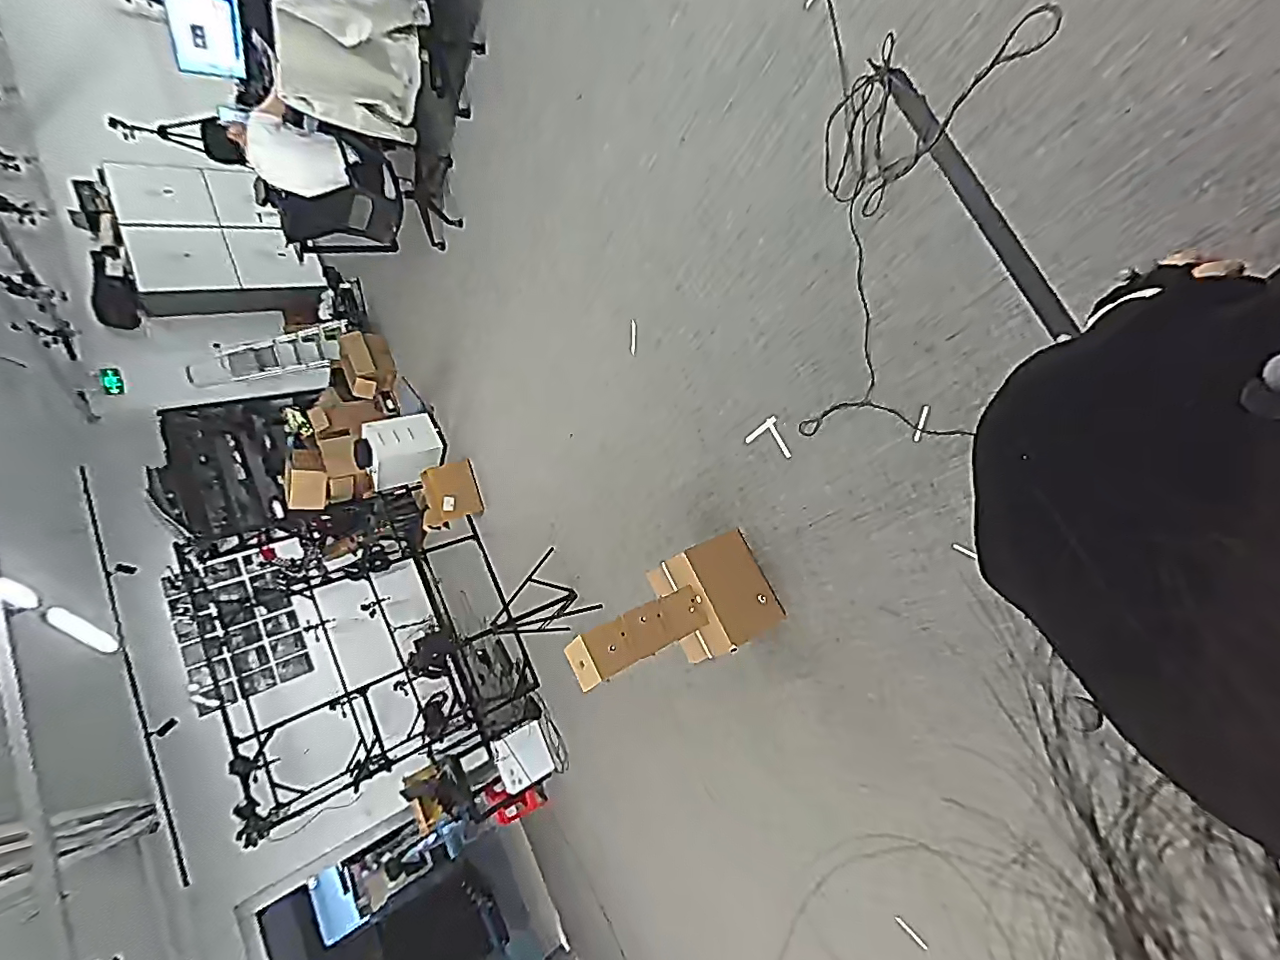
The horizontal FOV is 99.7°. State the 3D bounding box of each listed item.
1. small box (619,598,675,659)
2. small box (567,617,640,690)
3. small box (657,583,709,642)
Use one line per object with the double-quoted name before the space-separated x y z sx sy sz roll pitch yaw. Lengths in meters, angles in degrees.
"small box" 0.005 0.548 1.958 0.168 0.176 0.179 63 144 15
"small box" -0.123 0.594 1.865 0.168 0.176 0.179 60 142 18
"small box" 0.130 0.515 2.056 0.179 0.176 0.168 -44 69 51
